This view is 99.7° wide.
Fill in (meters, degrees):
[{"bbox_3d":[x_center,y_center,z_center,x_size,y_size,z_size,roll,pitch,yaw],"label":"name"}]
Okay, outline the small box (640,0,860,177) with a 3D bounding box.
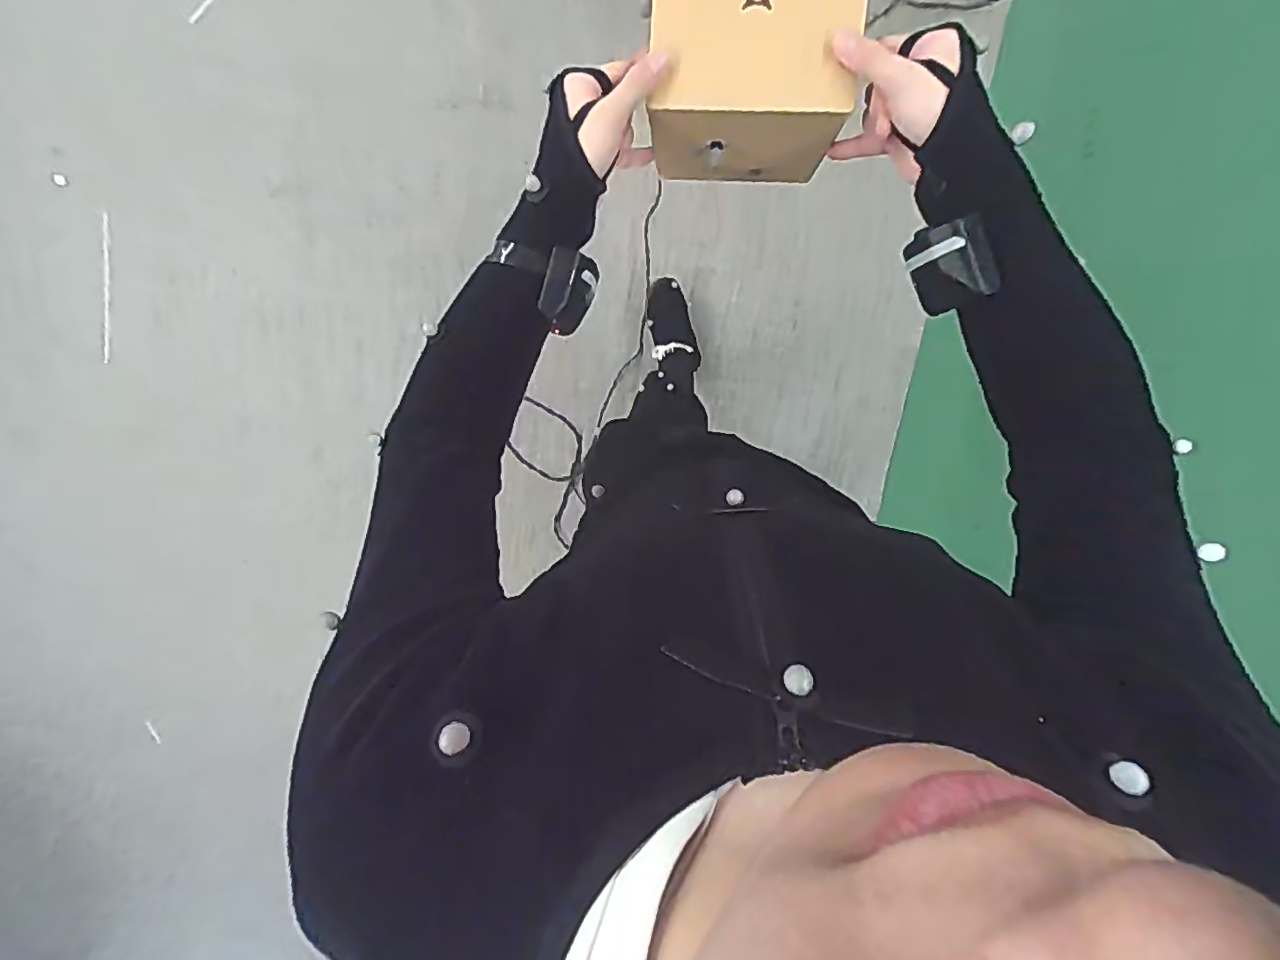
[{"bbox_3d":[0.094,-0.393,0.486,0.168,0.176,0.179,4,101,5],"label":"small box"}]
